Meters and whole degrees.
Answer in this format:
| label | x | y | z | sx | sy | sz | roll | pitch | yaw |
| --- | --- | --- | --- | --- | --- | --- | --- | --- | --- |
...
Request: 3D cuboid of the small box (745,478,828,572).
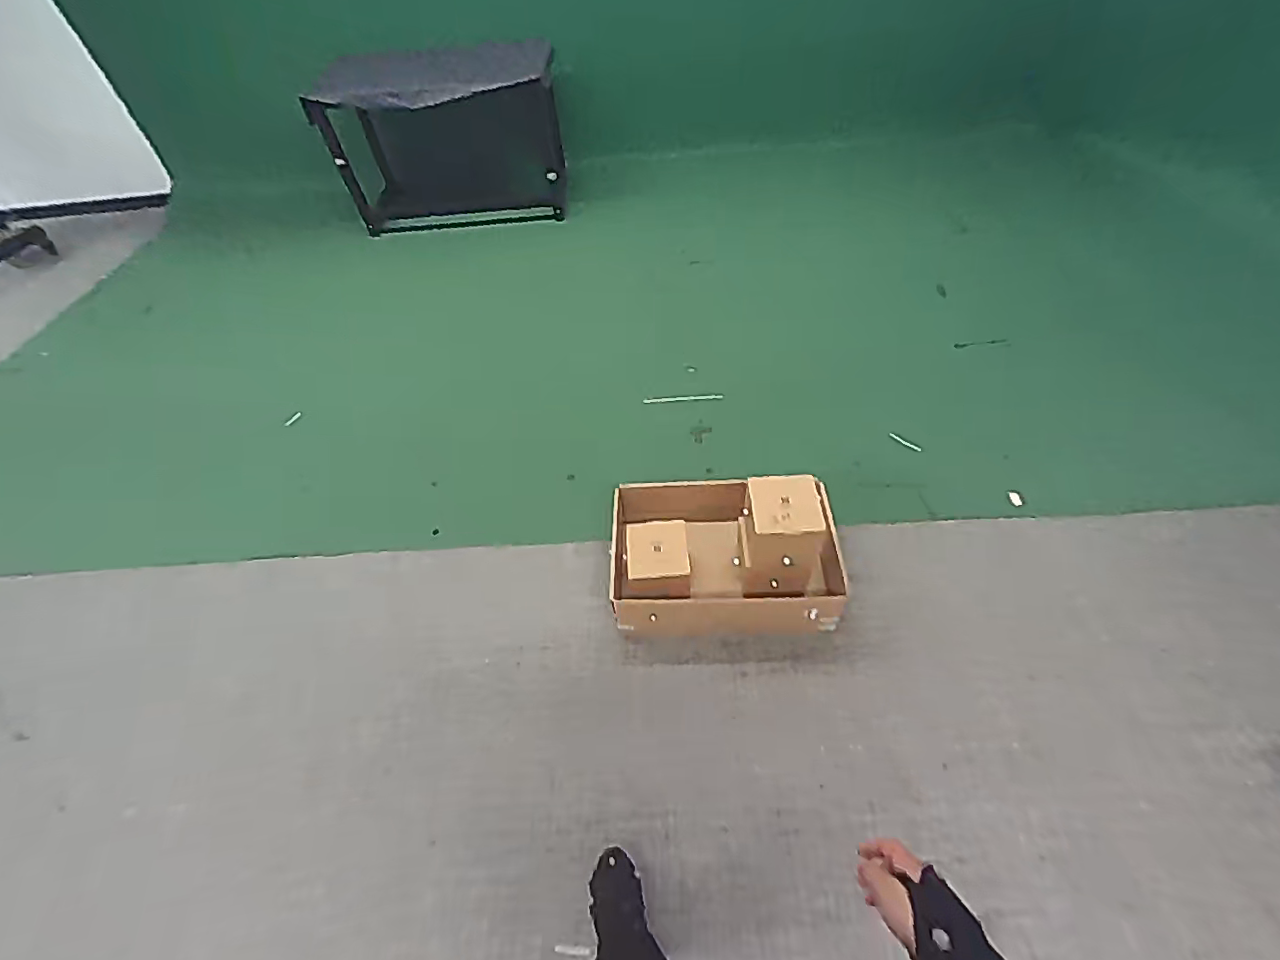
| label | x | y | z | sx | sy | sz | roll | pitch | yaw |
| --- | --- | --- | --- | --- | --- | --- | --- | --- | --- |
| small box | 0.360 | 0.115 | 1.363 | 0.168 | 0.176 | 0.179 | -3 | 51 | 4 |
